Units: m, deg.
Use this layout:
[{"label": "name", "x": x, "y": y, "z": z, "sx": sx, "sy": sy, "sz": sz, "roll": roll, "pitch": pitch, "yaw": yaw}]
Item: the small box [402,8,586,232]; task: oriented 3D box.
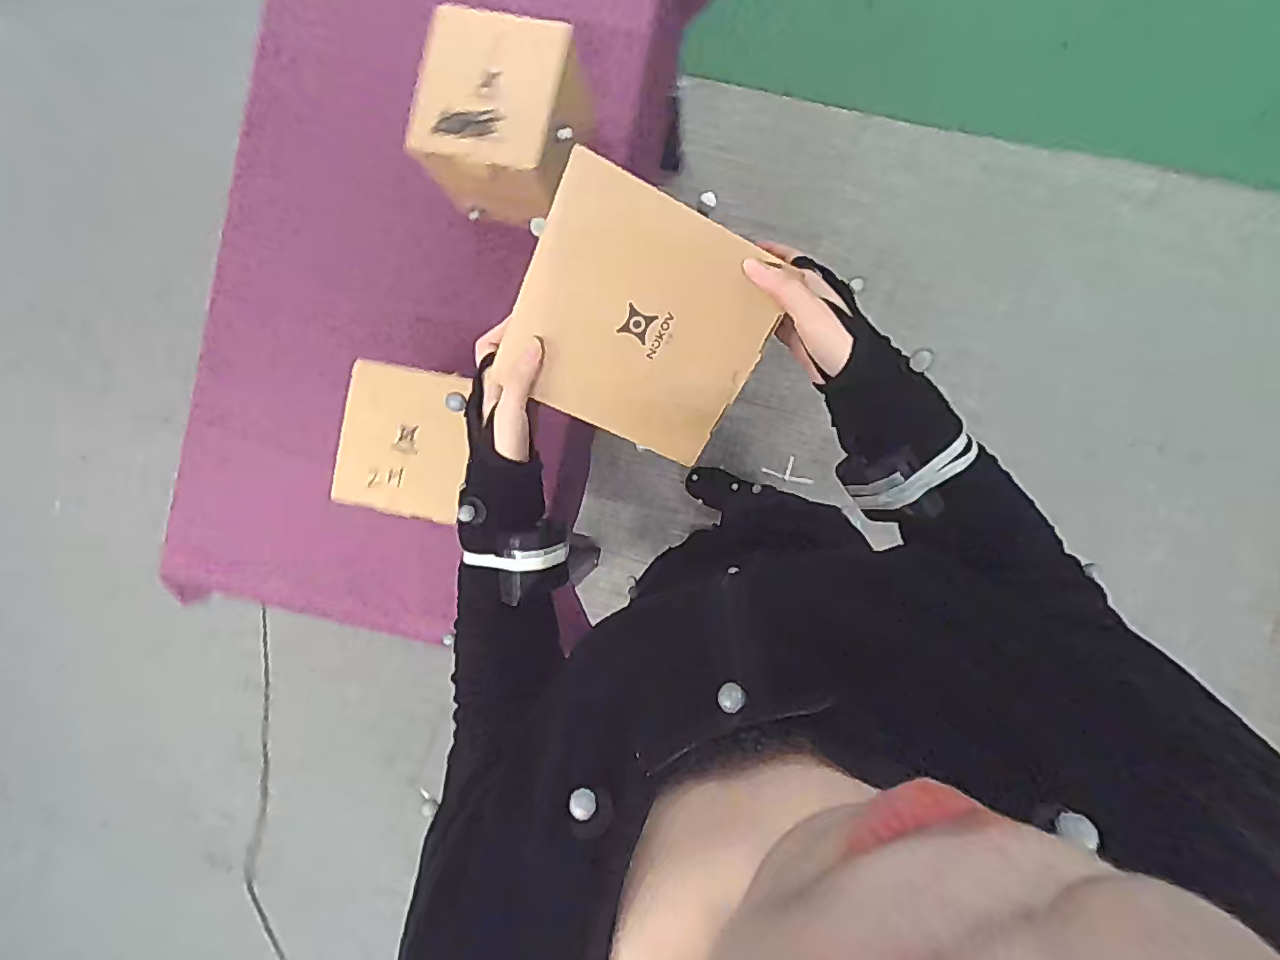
[{"label": "small box", "x": -0.179, "y": -0.459, "z": 0.716, "sx": 0.168, "sy": 0.176, "sz": 0.179, "roll": 14, "pitch": 91, "yaw": 6}]

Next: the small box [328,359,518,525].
[{"label": "small box", "x": -0.277, "y": -0.047, "z": 0.729, "sx": 0.168, "sy": 0.176, "sz": 0.179, "roll": 11, "pitch": 92, "yaw": 6}]
